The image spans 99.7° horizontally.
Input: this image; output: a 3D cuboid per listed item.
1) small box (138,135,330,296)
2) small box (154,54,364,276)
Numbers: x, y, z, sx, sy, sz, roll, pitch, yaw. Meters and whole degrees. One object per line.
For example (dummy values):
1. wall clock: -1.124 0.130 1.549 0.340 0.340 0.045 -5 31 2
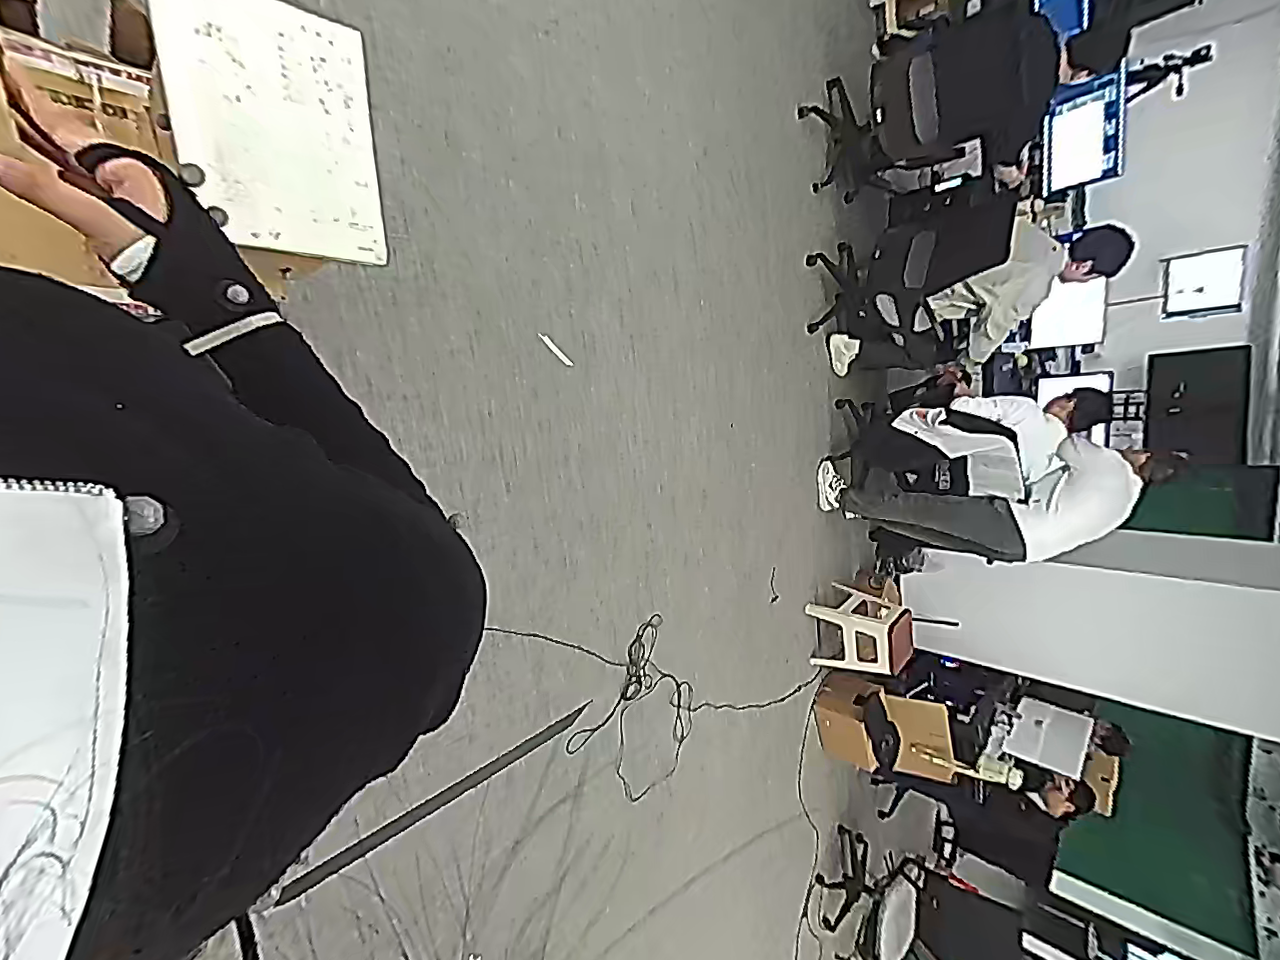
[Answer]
1. small box: -0.592 -0.370 0.791 0.179 0.176 0.168 -20 107 -44
2. small box: -0.475 -0.370 0.676 0.168 0.176 0.179 -16 105 -45
